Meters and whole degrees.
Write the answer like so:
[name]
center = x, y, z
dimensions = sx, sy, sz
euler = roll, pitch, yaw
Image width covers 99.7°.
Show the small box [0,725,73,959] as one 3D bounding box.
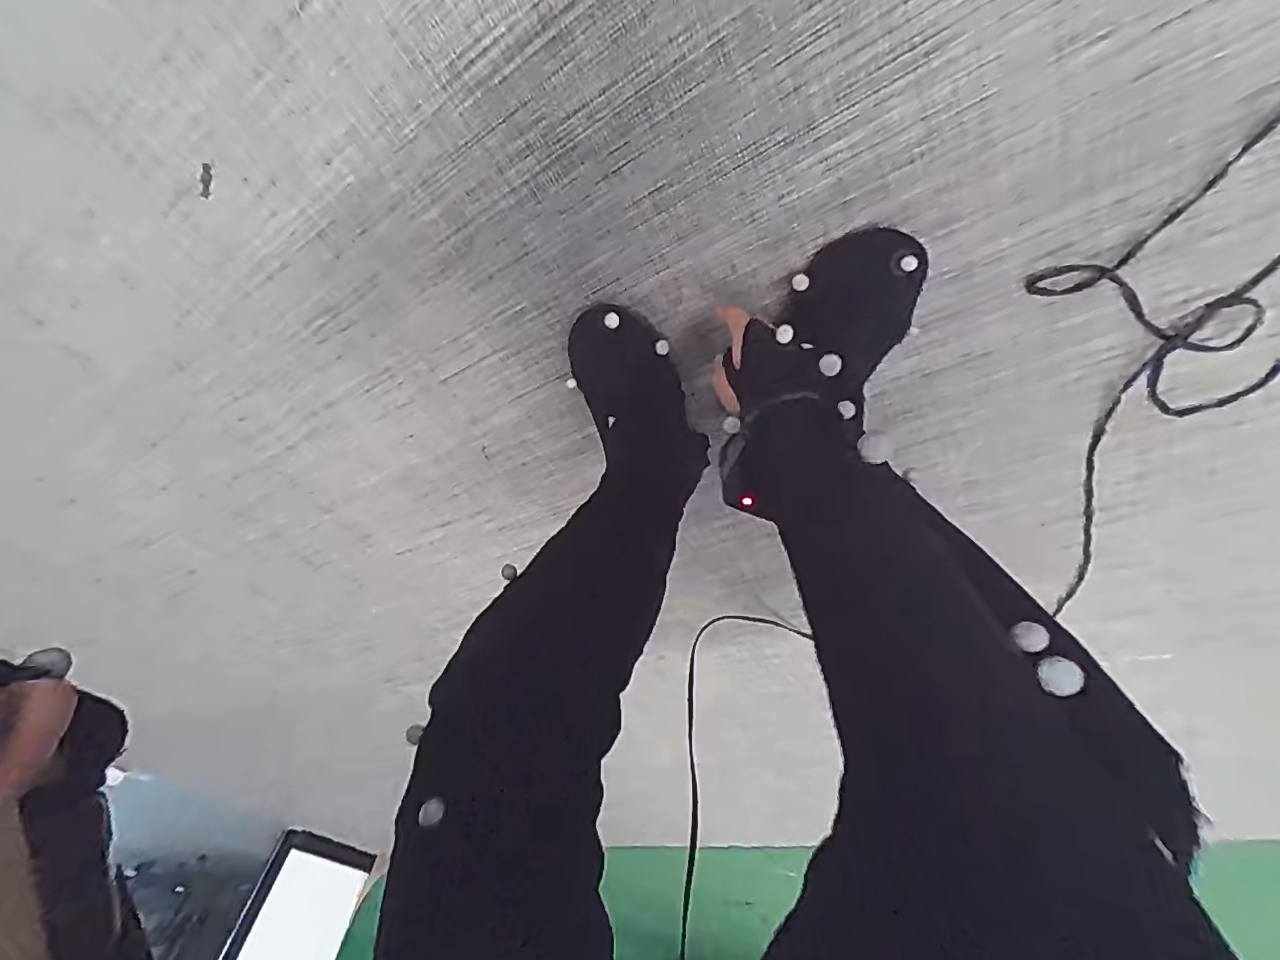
[small box]
center = -0.217, 0.163, 0.081
dimensions = 0.179, 0.176, 0.168
euler = -2, 96, 51
